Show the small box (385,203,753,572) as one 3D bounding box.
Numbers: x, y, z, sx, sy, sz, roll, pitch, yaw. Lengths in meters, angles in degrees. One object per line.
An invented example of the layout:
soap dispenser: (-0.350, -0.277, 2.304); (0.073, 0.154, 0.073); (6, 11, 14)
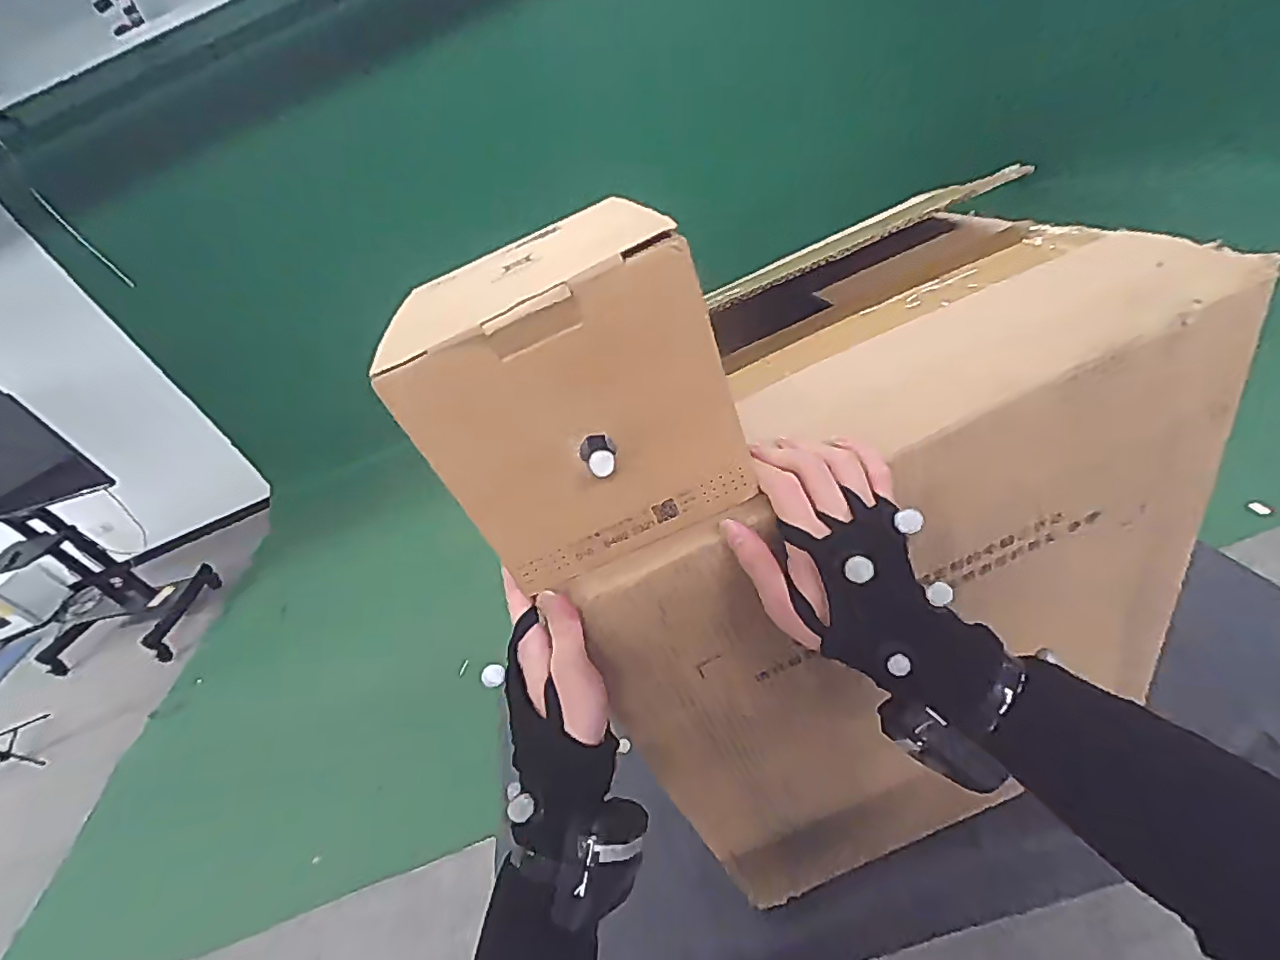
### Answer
small box: (-0.040, -0.061, 0.371); (0.168, 0.176, 0.179); (-24, 35, 1)
